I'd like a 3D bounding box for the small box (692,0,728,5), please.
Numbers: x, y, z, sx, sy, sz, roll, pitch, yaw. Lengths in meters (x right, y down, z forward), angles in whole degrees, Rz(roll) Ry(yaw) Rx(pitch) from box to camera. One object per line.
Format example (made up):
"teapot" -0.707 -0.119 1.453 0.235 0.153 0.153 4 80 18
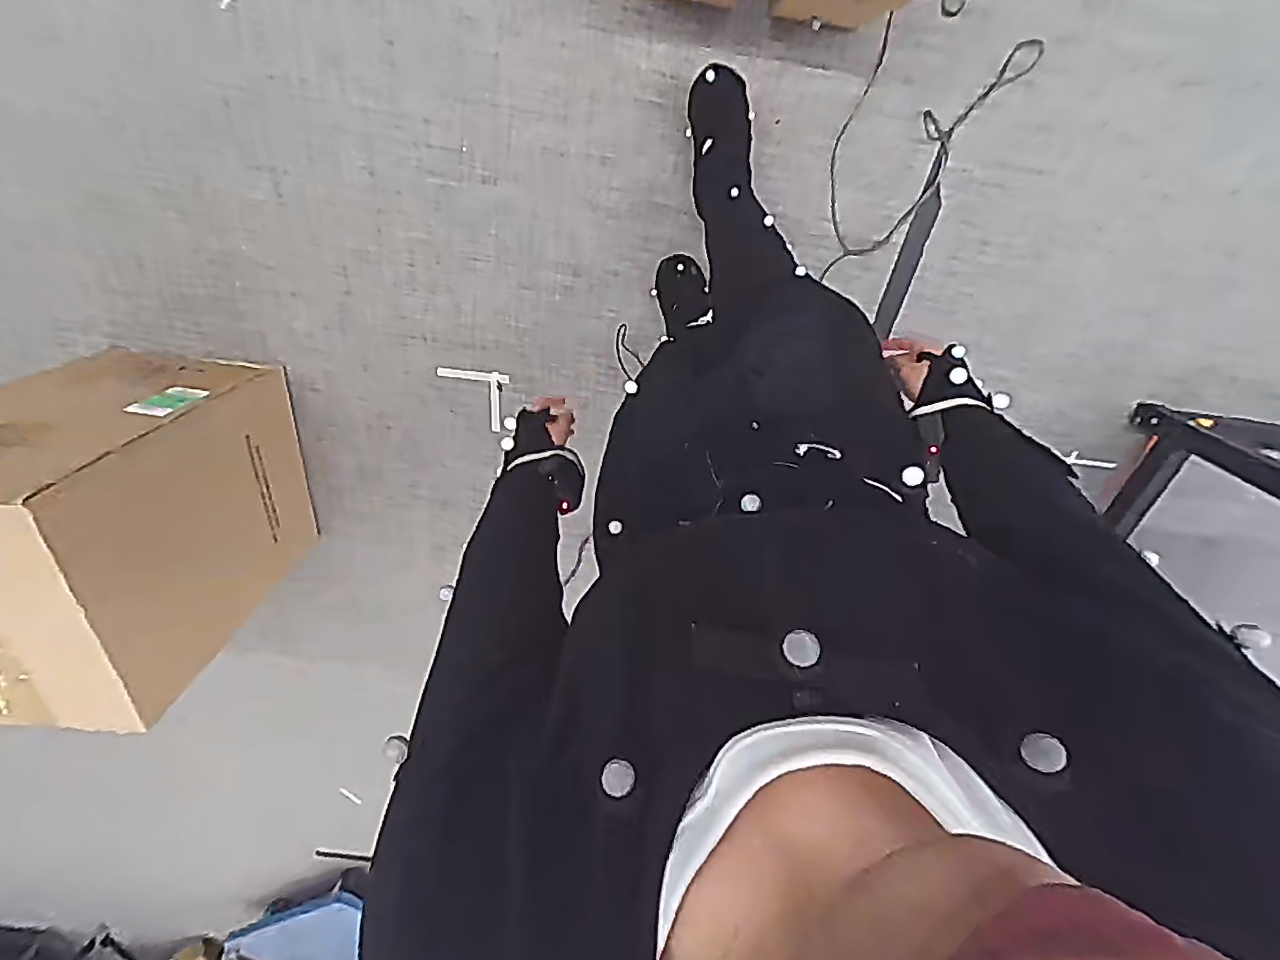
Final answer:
"small box" 0.080 -0.868 0.834 0.179 0.176 0.168 9 121 -3

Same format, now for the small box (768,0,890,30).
"small box" 0.310 -0.842 0.844 0.168 0.176 0.179 7 121 -3
